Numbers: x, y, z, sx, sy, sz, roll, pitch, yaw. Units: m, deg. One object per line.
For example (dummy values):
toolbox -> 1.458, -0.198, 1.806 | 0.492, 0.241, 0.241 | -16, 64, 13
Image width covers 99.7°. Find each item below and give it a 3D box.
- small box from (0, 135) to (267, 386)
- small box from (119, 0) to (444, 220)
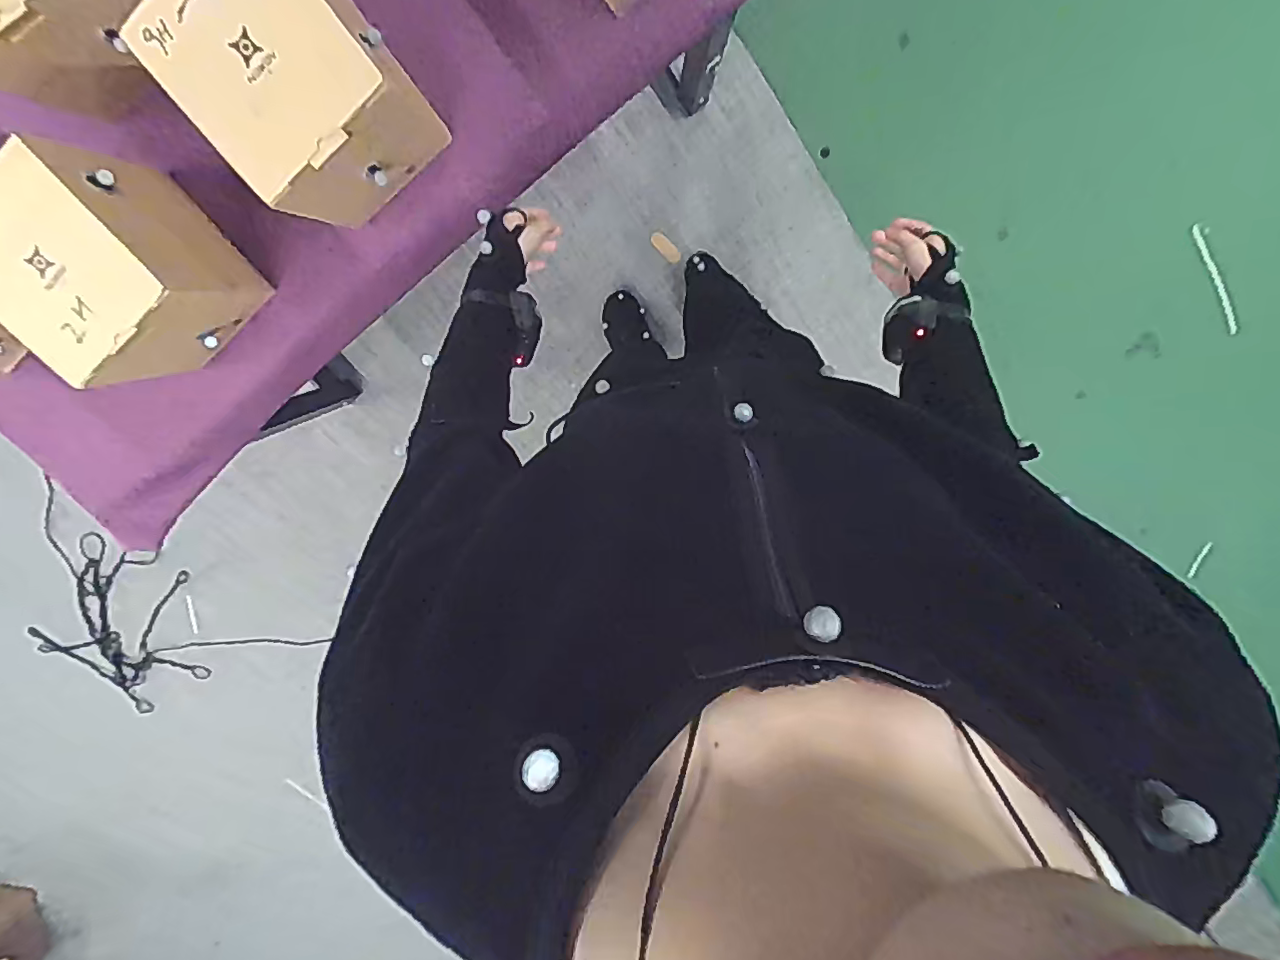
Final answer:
small box -> -0.581, -0.230, 0.603 | 0.168, 0.176, 0.179 | -35, 105, 12
small box -> -0.334, -0.389, 0.547 | 0.168, 0.176, 0.179 | -35, 104, 11
